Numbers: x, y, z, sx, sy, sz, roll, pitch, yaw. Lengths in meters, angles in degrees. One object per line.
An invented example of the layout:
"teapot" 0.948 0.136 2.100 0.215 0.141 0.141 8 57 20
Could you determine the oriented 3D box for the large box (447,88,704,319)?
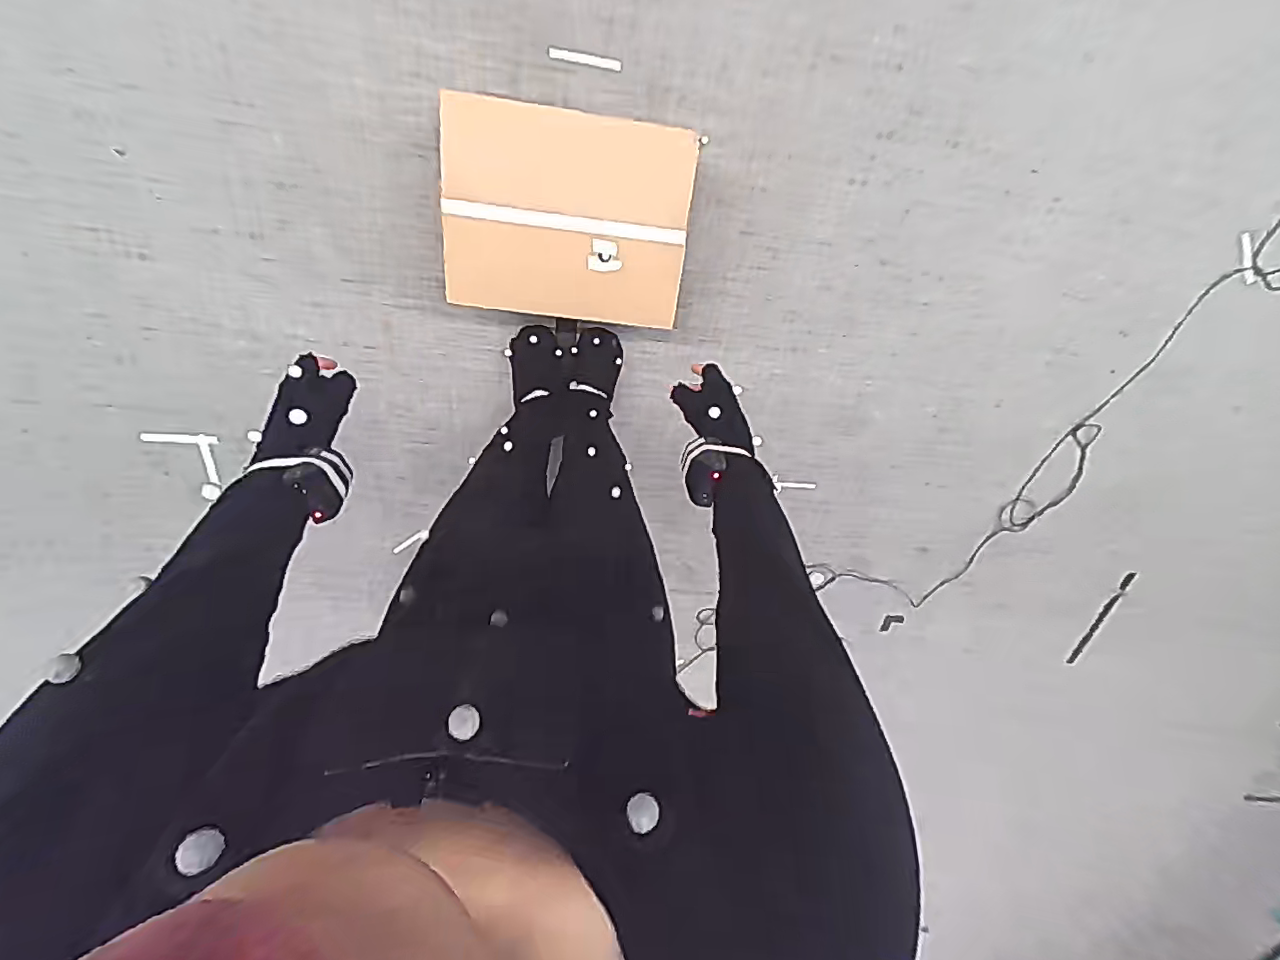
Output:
"large box" -0.125 -0.507 1.032 0.408 0.320 0.320 4 117 -8
